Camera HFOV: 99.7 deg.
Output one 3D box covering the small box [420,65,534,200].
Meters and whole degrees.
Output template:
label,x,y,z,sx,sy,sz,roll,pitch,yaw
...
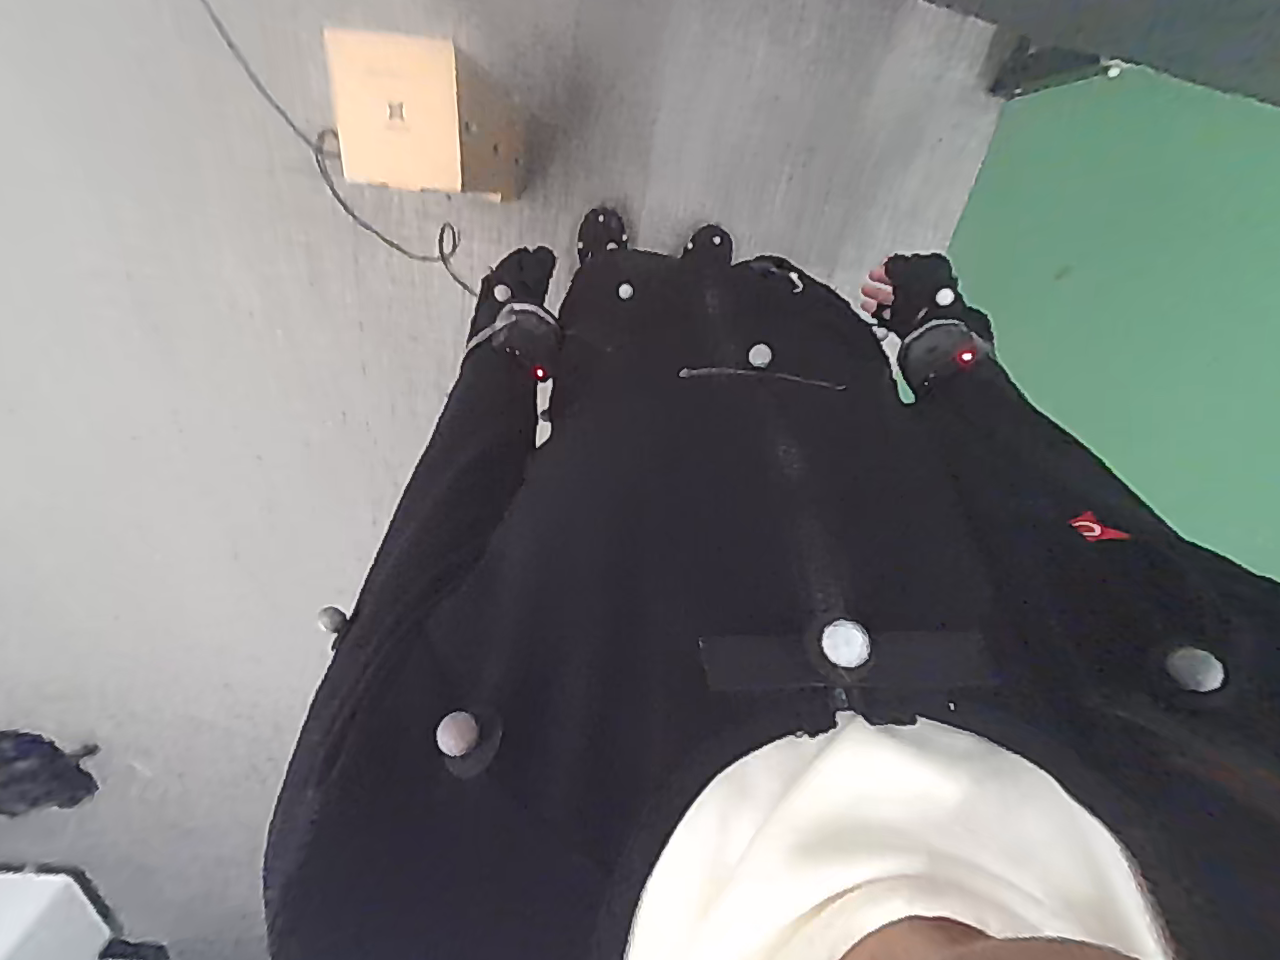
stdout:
label,x,y,z,sx,sy,sz,roll,pitch,yaw
small box,-0.319,-0.683,1.080,0.168,0.176,0.179,17,118,-8
